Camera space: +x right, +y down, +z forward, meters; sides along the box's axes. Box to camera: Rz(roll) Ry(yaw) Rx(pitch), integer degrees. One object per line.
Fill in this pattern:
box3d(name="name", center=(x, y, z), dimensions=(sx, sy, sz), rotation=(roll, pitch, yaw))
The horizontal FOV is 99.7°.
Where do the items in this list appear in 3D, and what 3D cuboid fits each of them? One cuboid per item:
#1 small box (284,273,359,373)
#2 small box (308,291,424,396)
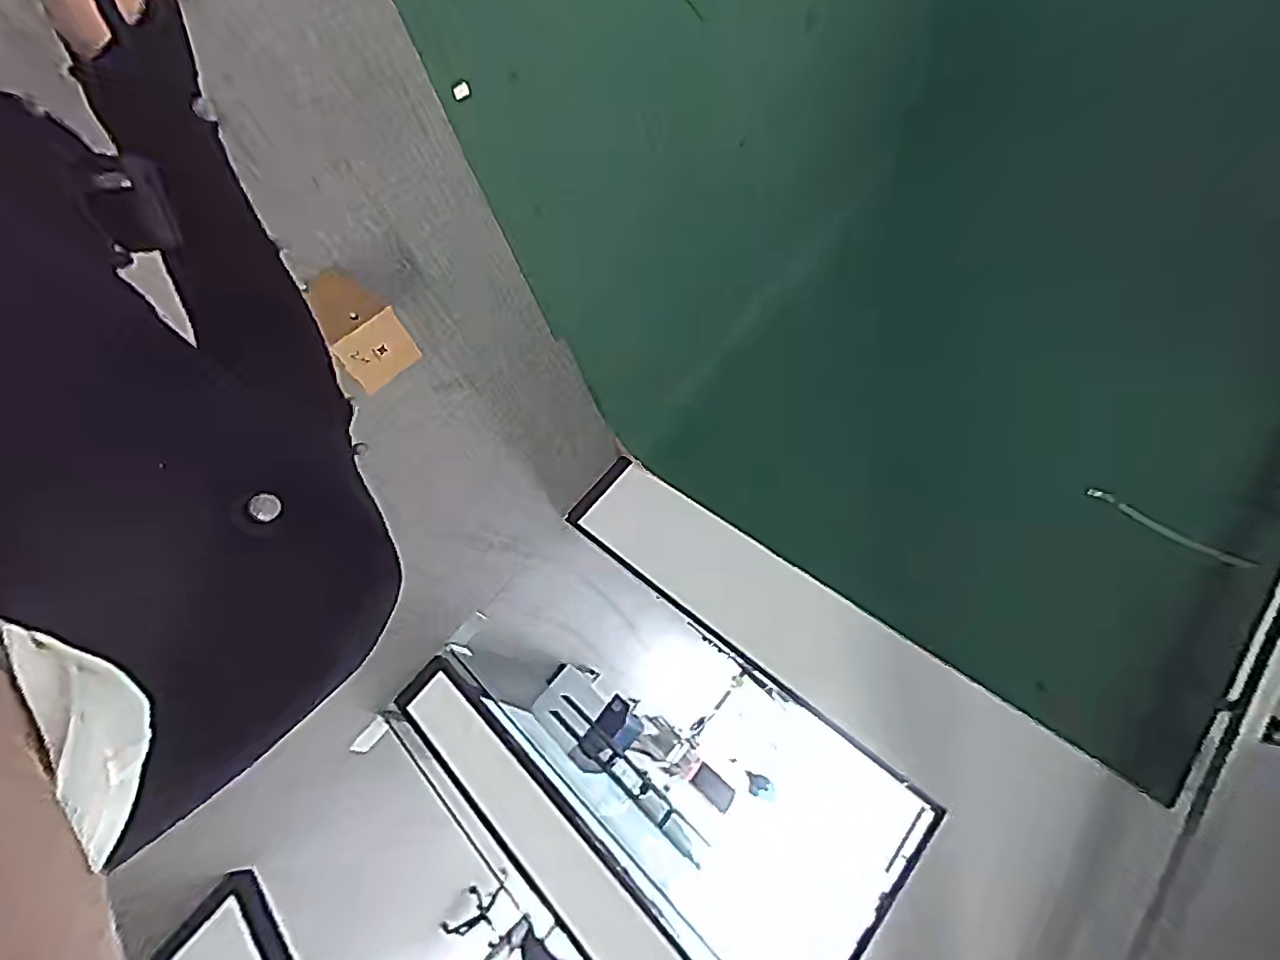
box3d(name="small box", center=(-0.829, -0.430, 1.472), dimensions=(0.179, 0.176, 0.168), rotation=(-45, 149, -17))
box3d(name="small box", center=(-0.704, -0.355, 1.393), dimensions=(0.179, 0.176, 0.168), rotation=(-45, 148, -18))
